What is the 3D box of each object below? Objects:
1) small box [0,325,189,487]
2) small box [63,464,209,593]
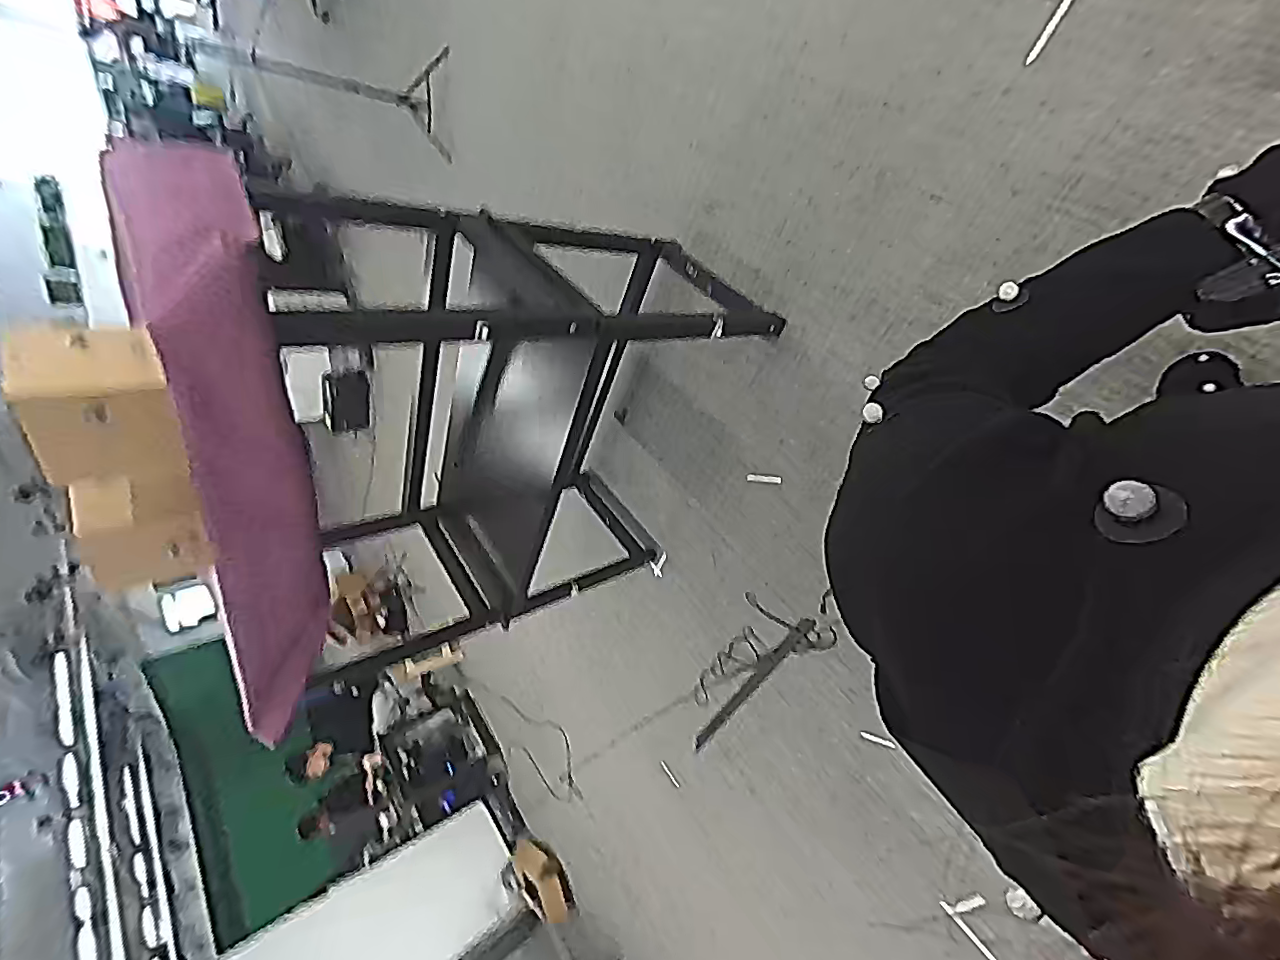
[{"bbox_3d":[-0.823,-0.120,0.825,0.168,0.176,0.179,51,136,27],"label":"small box"},{"bbox_3d":[-0.925,0.073,1.003,0.179,0.176,0.168,47,133,30],"label":"small box"}]
